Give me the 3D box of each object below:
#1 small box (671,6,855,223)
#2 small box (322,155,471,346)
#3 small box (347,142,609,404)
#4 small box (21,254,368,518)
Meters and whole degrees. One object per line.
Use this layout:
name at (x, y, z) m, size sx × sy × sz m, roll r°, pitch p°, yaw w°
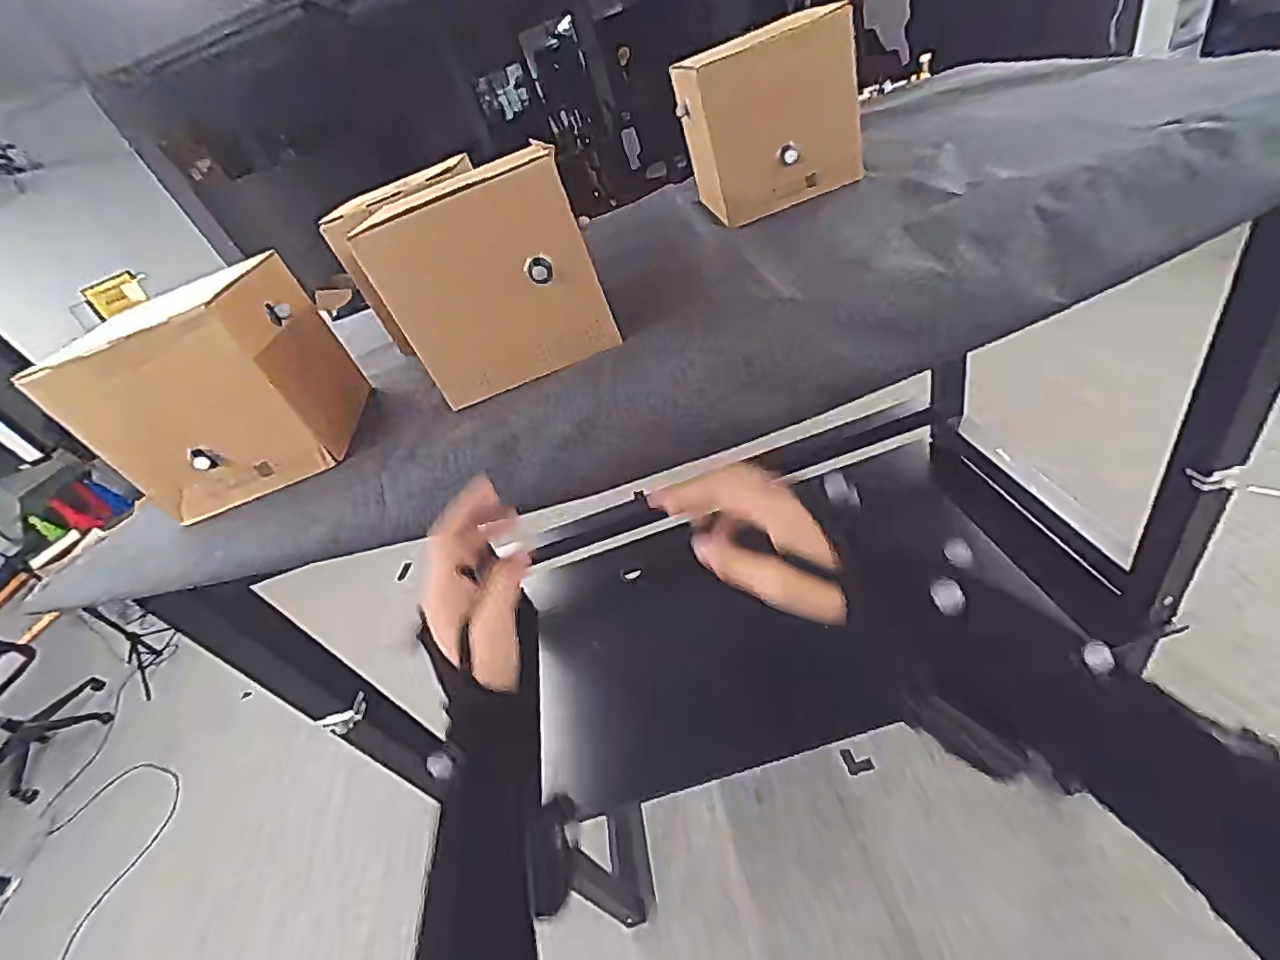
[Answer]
small box at (0.149, -0.441, 0.667) m, size 0.168 × 0.176 × 0.179 m, roll -19°, pitch 37°, yaw 7°
small box at (-0.269, -0.298, 0.714) m, size 0.168 × 0.176 × 0.179 m, roll -20°, pitch 37°, yaw 4°
small box at (-0.138, -0.202, 0.528) m, size 0.179 × 0.176 × 0.168 m, roll -21°, pitch 35°, yaw 2°
small box at (-0.401, -0.094, 0.534) m, size 0.168 × 0.176 × 0.179 m, roll -22°, pitch 38°, yaw 1°
